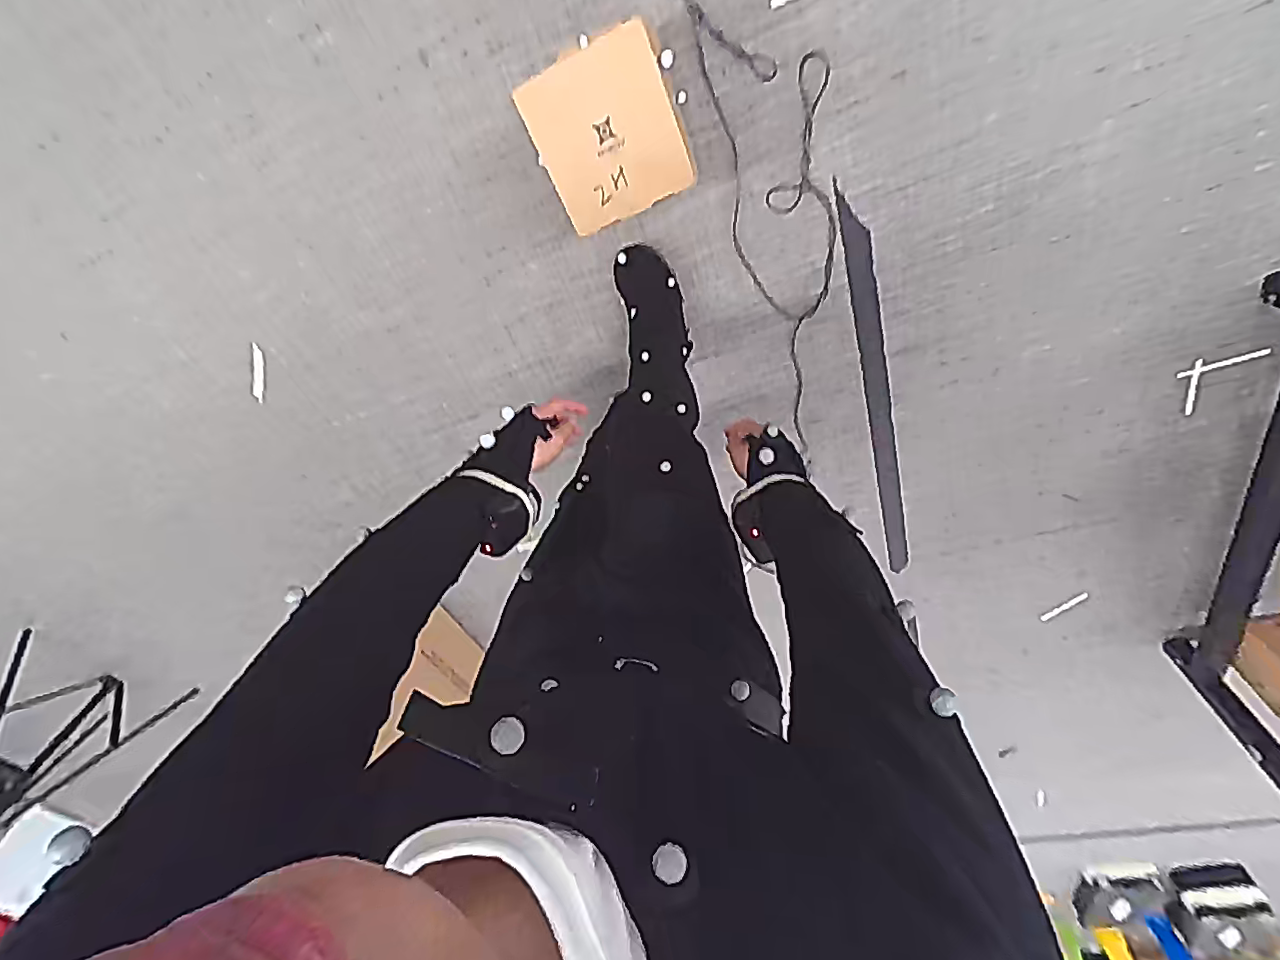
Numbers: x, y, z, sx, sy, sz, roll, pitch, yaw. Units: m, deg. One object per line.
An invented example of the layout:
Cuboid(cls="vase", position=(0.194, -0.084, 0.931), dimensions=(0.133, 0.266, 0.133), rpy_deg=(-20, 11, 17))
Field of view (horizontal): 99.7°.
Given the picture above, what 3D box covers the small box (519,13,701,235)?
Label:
Cuboid(cls="small box", position=(-0.028, -0.451, 0.696), dimensions=(0.168, 0.176, 0.179), rpy_deg=(-17, 125, 17))
